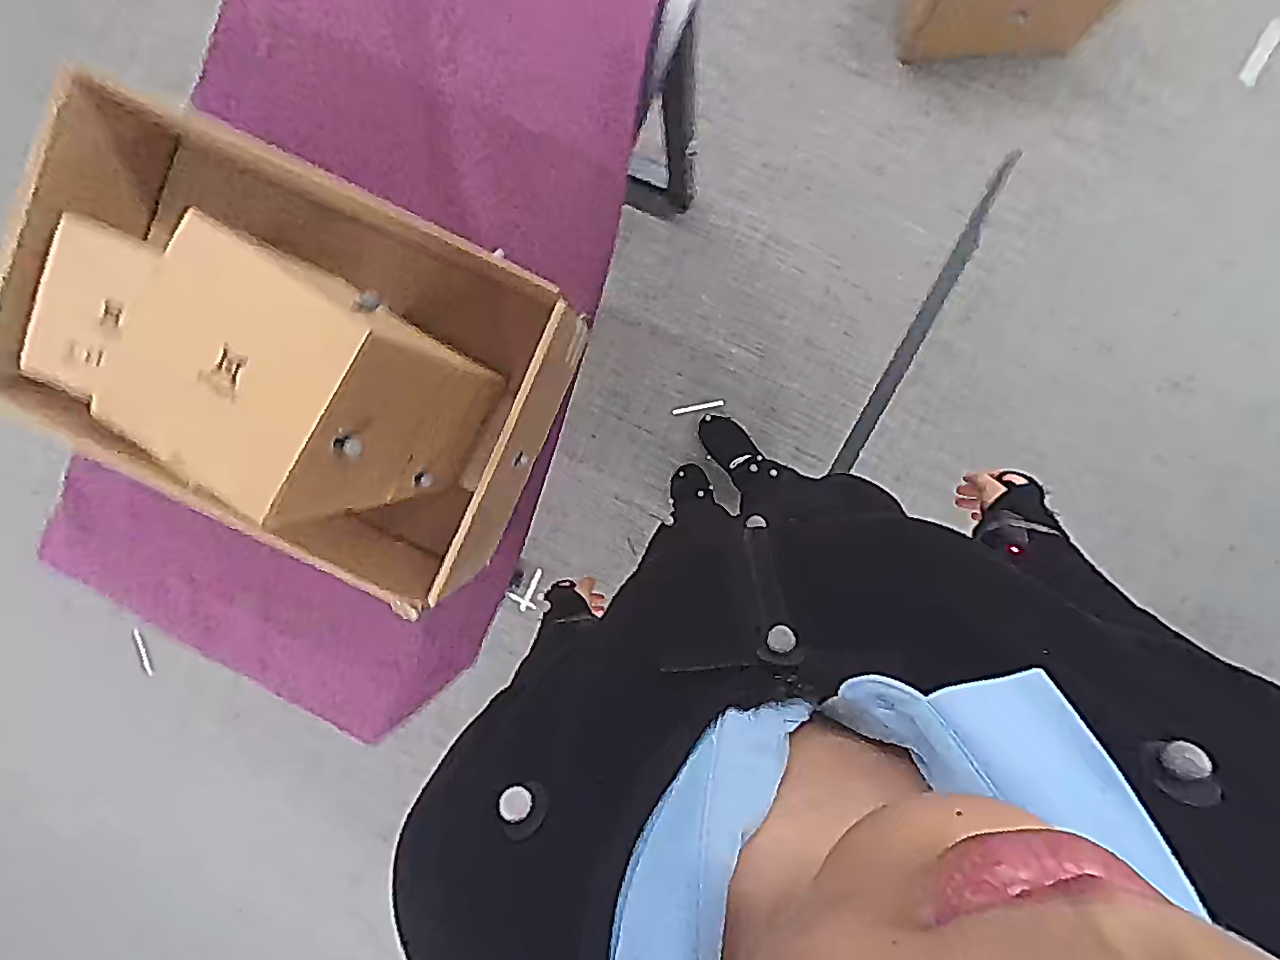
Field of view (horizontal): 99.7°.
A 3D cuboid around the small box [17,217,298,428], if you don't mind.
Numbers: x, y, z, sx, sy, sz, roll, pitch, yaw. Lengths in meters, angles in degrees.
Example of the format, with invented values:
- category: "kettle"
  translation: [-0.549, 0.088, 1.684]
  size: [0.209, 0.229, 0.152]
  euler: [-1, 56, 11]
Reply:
- category: "small box"
  translation: [-0.555, -0.172, 0.650]
  size: [0.168, 0.176, 0.179]
  euler: [22, 95, 2]

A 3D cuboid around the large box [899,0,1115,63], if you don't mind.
- category: "large box"
  translation: [0.818, -1.168, 1.154]
  size: [0.408, 0.320, 0.320]
  euler: [-1, 95, 6]
